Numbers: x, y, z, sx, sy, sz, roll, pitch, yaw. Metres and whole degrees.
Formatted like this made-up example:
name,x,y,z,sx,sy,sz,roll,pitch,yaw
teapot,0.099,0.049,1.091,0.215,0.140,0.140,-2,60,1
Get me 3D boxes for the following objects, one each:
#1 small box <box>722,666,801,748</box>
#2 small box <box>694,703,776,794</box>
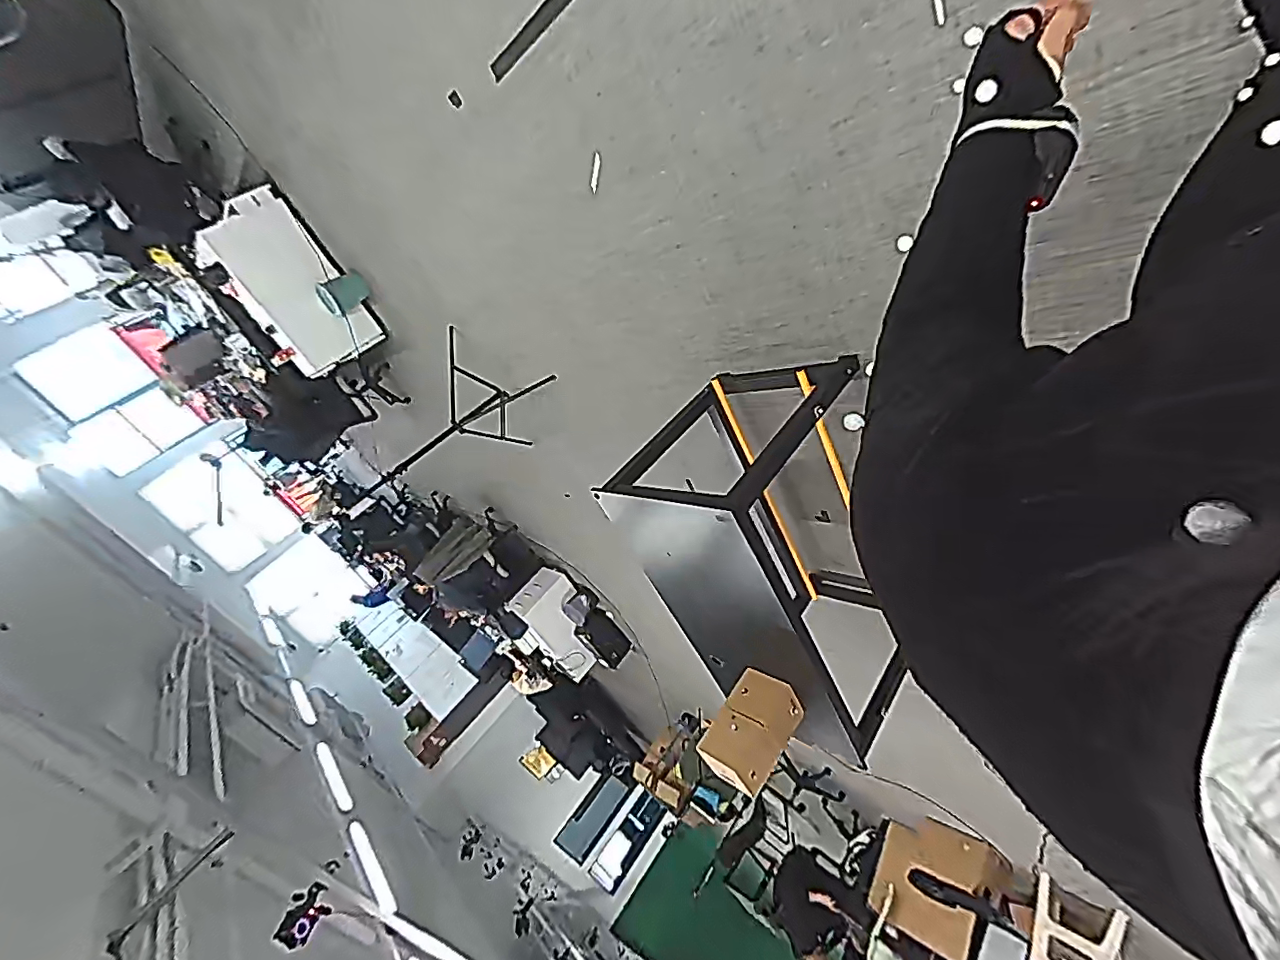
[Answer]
name,x,y,z,sx,sy,sz,roll,pitch,yaw
small box,0.416,0.763,1.838,0.179,0.176,0.168,6,135,49
small box,0.315,0.869,1.762,0.168,0.176,0.179,5,134,51
